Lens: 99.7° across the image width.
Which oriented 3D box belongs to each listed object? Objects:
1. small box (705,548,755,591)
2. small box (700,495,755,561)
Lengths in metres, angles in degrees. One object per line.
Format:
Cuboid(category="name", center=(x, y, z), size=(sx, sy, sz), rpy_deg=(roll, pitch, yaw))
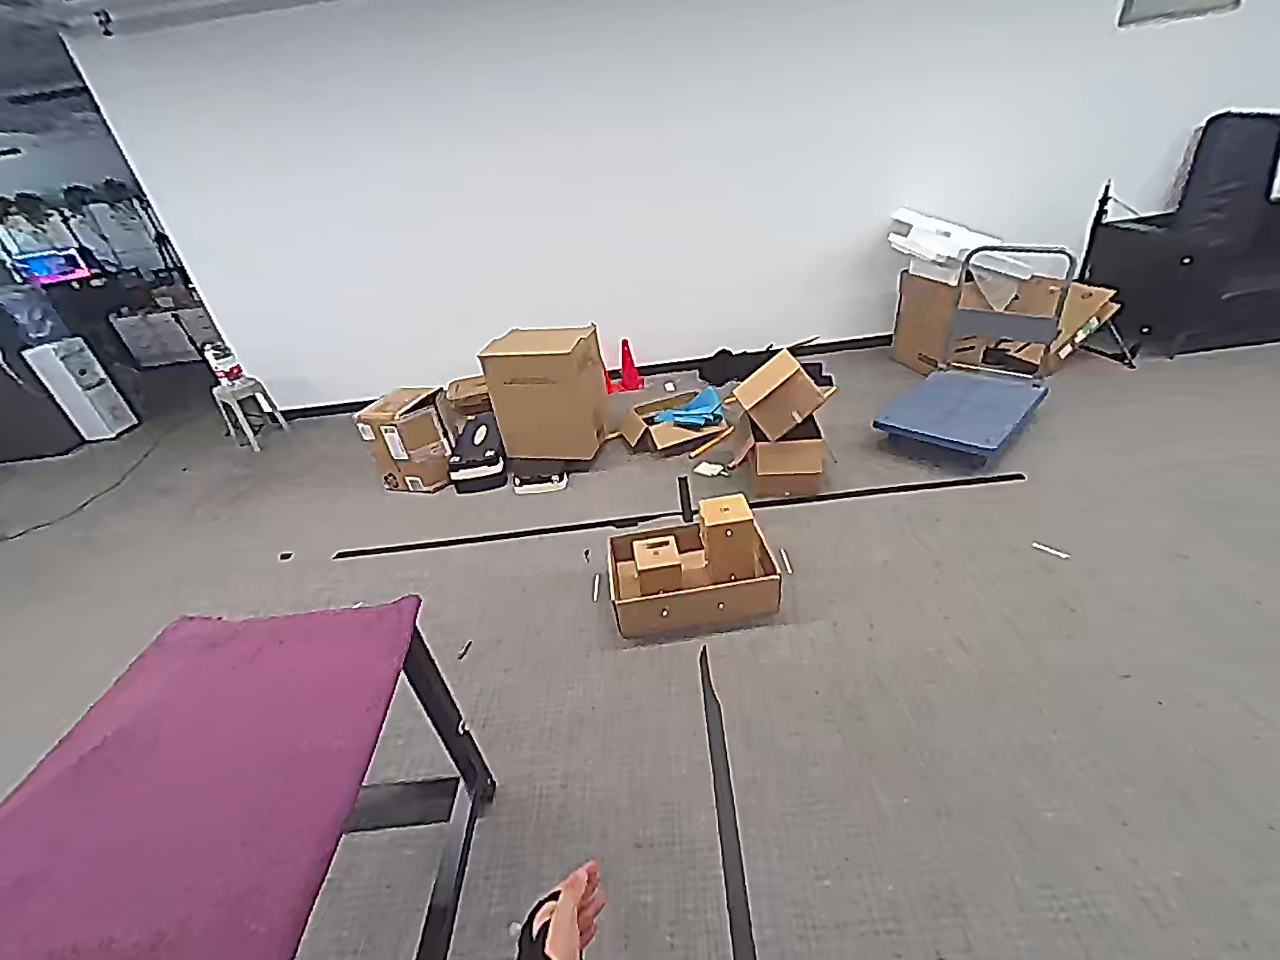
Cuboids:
Cuboid(category="small box", center=(0.350, 0.317, 2.104), size=(0.168, 0.176, 0.179), rpy_deg=(-8, 30, 0))
Cuboid(category="small box", center=(0.326, 0.182, 2.018), size=(0.179, 0.176, 0.168), rpy_deg=(-10, 31, 0))
